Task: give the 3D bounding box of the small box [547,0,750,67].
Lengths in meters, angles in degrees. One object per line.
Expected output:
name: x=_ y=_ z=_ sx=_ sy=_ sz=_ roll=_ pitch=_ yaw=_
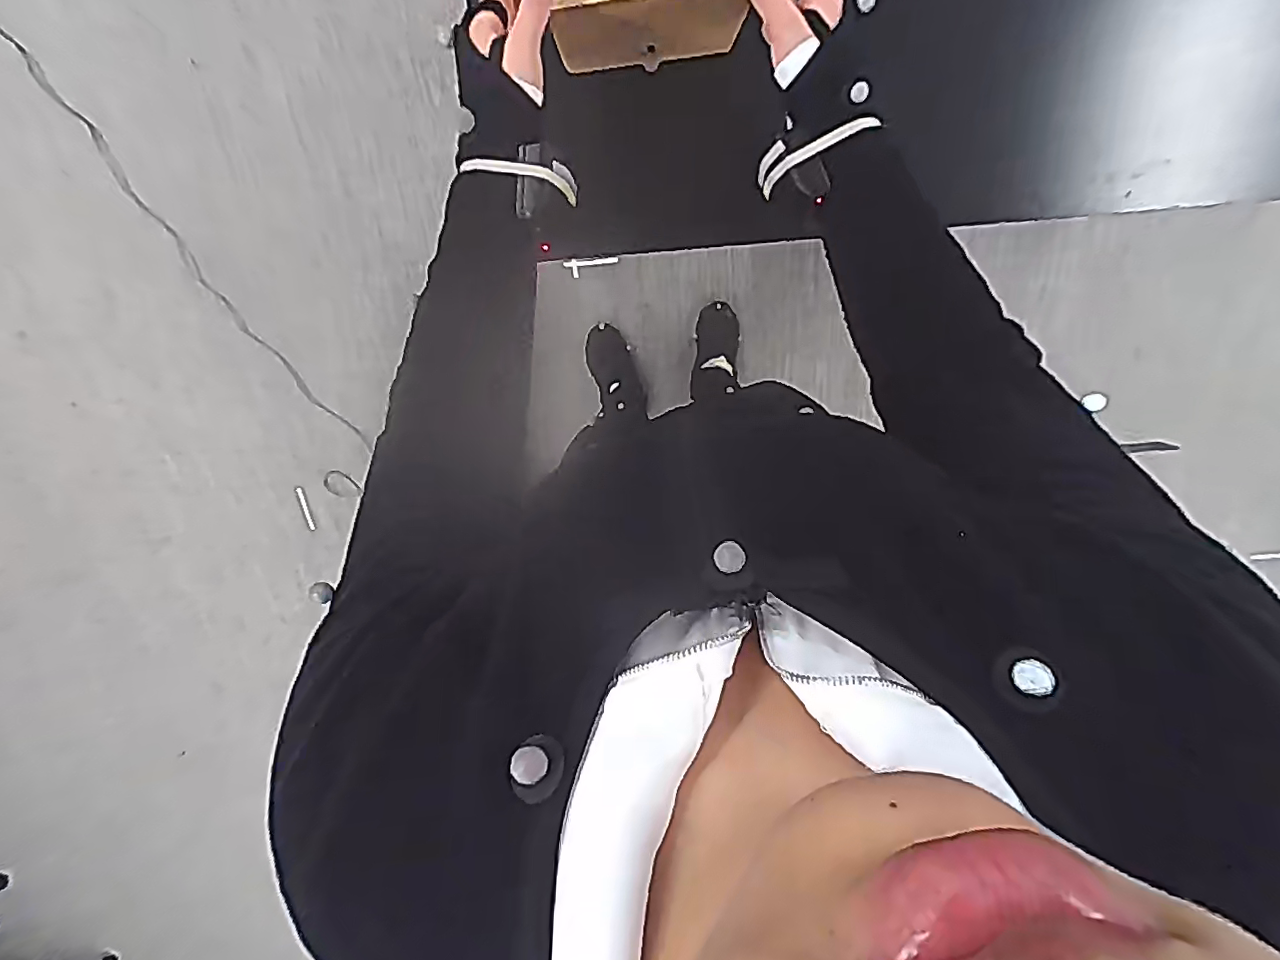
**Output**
small box: x=0.001 y=-0.489 z=0.468 sx=0.179 sy=0.176 sz=0.168 roll=-7 pitch=112 yaw=1
